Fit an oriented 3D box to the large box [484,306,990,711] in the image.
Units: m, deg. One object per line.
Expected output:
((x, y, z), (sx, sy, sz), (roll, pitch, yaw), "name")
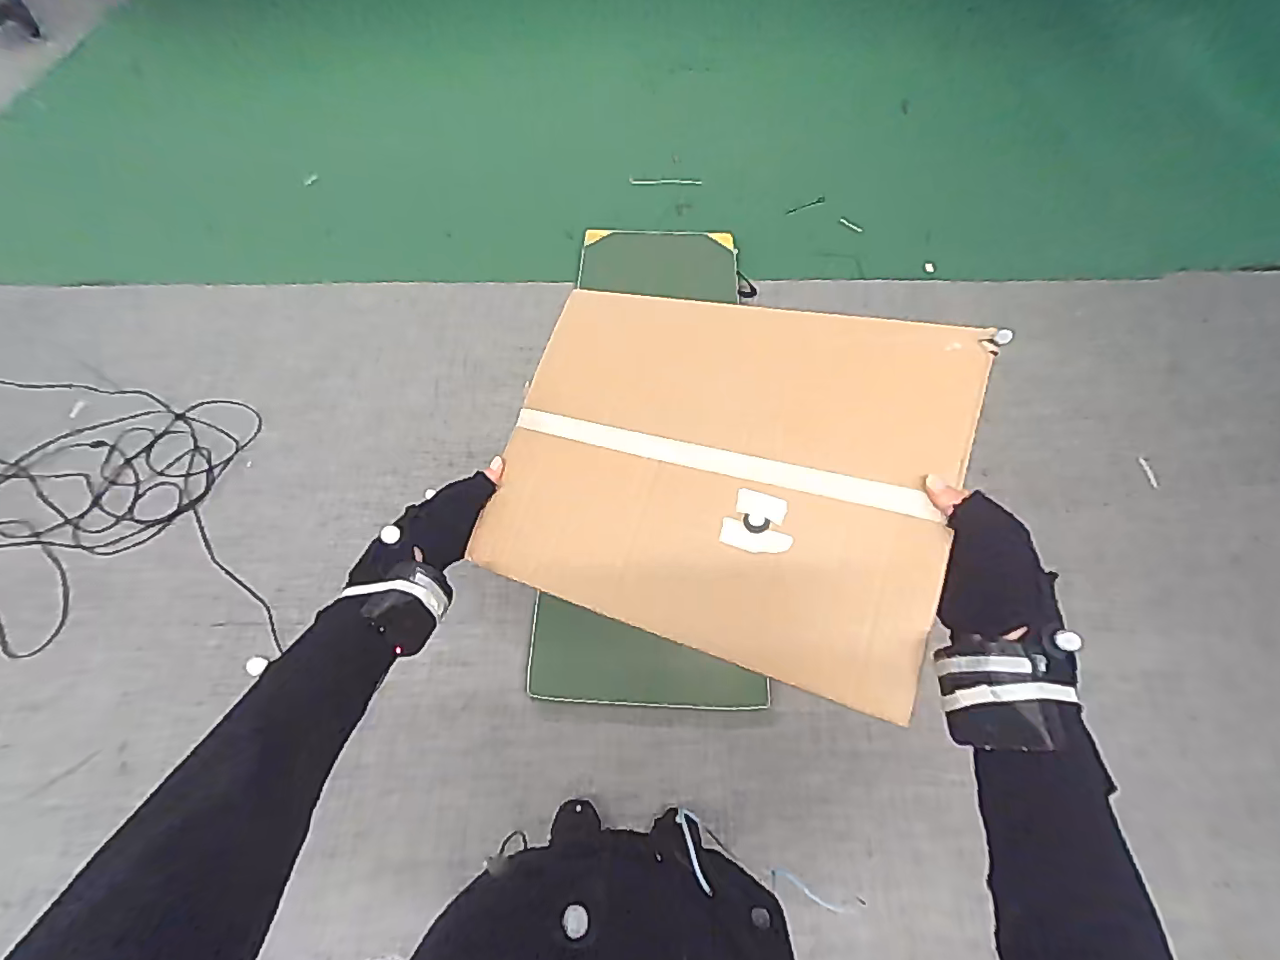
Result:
((0.113, 0.033, 0.626), (0.408, 0.320, 0.320), (14, 77, 23), "large box")
